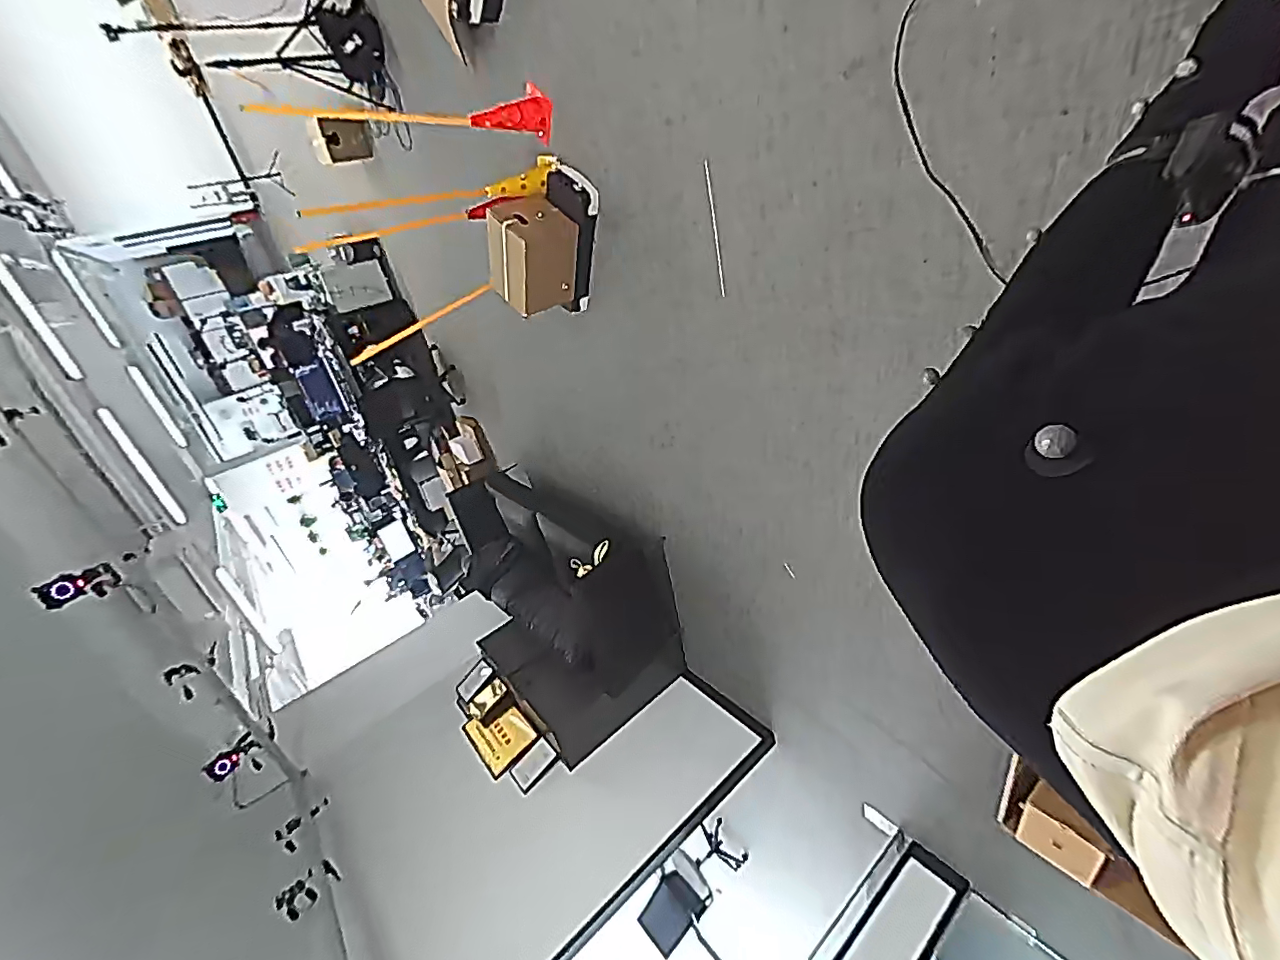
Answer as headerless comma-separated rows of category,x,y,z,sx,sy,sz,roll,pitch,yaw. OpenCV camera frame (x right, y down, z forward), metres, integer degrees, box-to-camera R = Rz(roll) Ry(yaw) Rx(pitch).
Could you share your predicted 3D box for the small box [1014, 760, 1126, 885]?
small box,1.107,0.876,1.394,0.168,0.176,0.179,26,136,46
